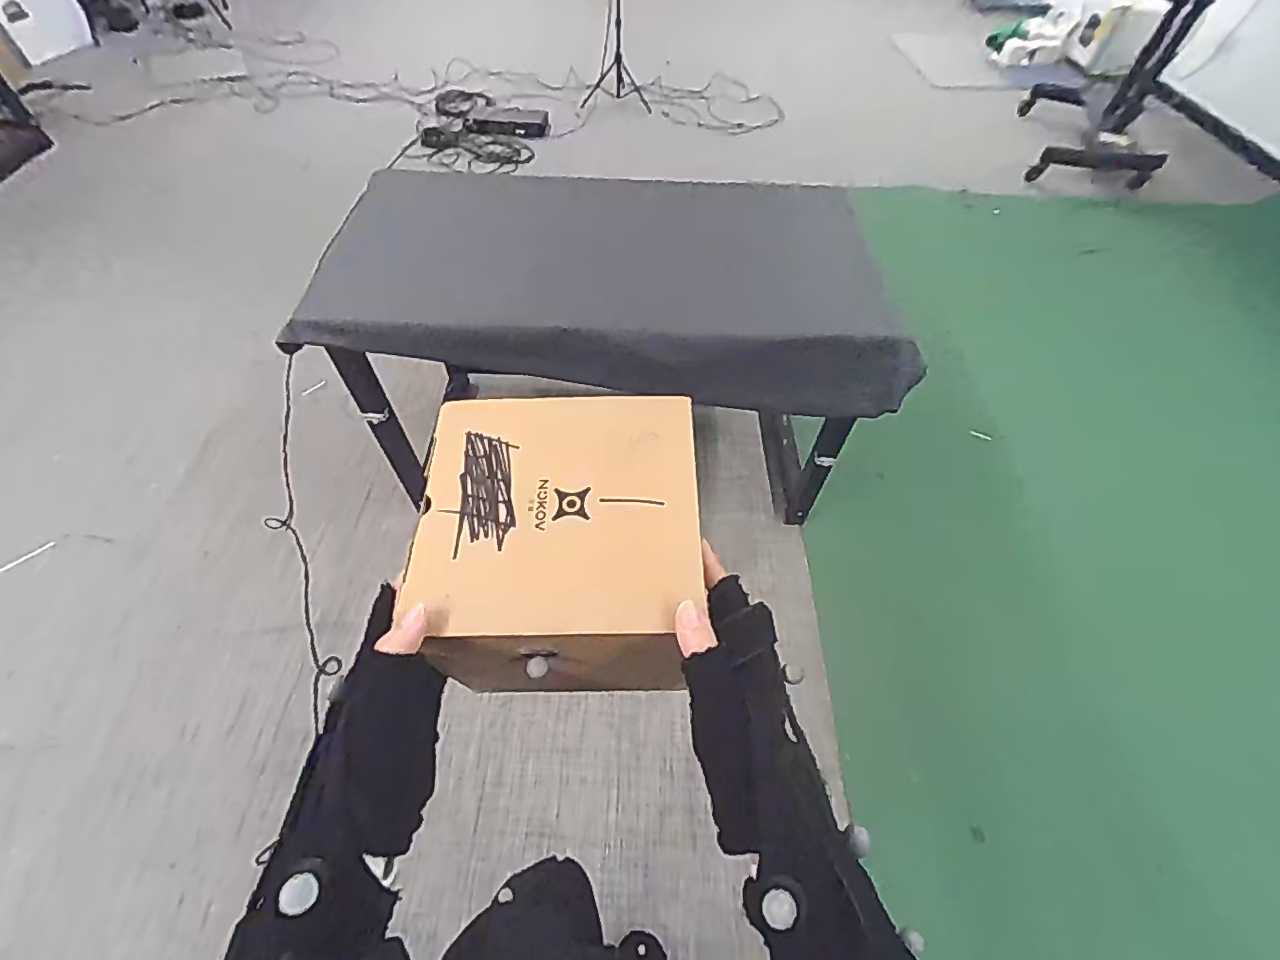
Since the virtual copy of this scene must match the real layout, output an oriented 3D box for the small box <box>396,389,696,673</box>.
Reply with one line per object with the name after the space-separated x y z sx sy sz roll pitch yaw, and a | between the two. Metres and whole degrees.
-0.053 0.048 0.416 0.179 0.176 0.168 -1 59 0 | small box
